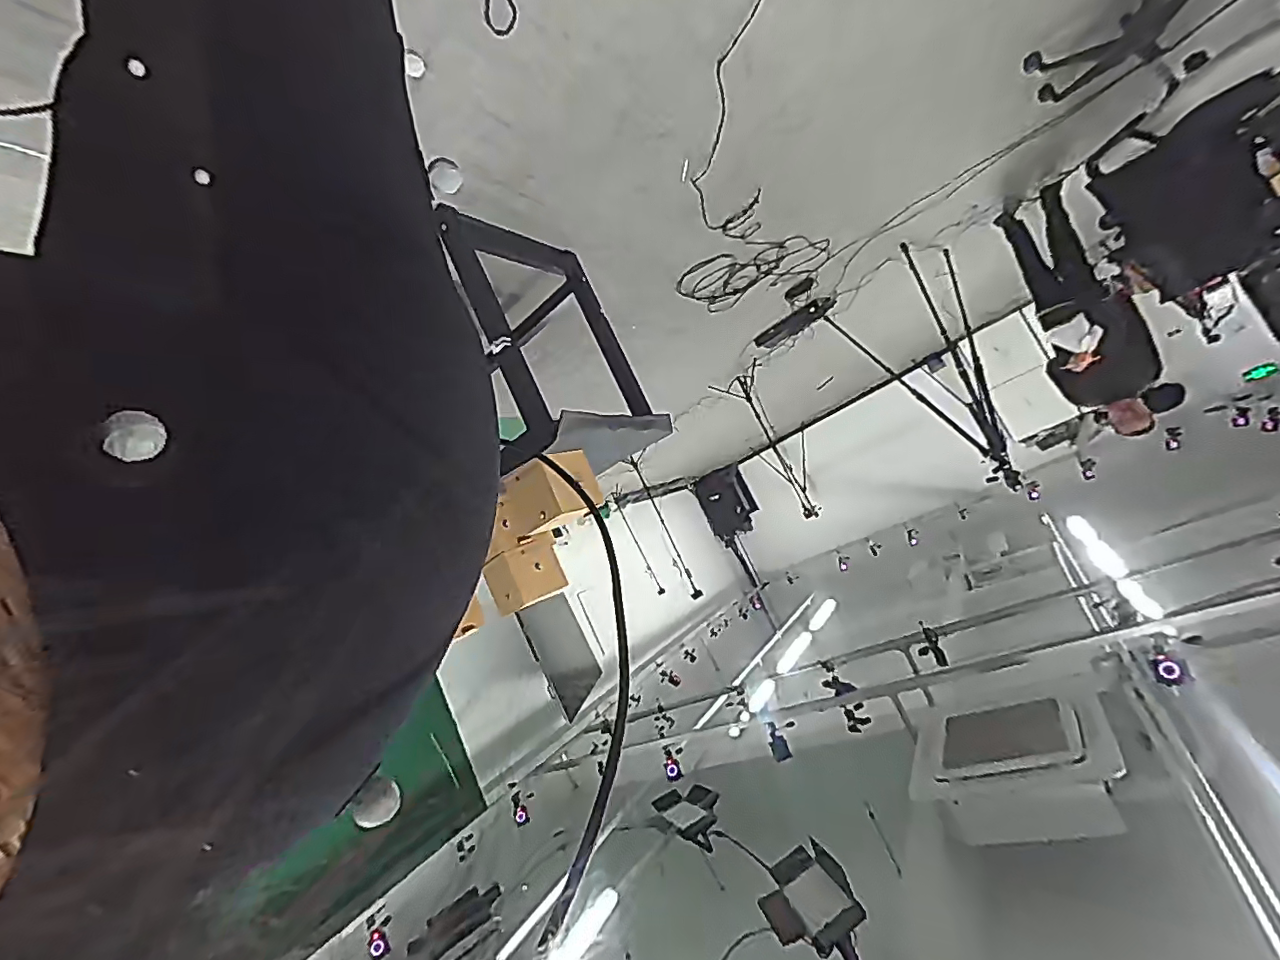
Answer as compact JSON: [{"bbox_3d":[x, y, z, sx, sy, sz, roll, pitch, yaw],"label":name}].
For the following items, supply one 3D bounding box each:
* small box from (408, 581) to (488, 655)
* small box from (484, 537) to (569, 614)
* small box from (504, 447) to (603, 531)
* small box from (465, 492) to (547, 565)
[{"bbox_3d":[-0.653,0.460,1.818,0.179,0.176,0.168,-32,170,31],"label":"small box"},{"bbox_3d":[-0.355,0.288,1.666,0.168,0.176,0.179,-17,168,-44],"label":"small box"},{"bbox_3d":[-0.238,0.019,1.486,0.168,0.176,0.179,-32,170,36],"label":"small box"},{"bbox_3d":[-0.425,0.141,1.692,0.168,0.176,0.179,-18,169,-42],"label":"small box"}]
